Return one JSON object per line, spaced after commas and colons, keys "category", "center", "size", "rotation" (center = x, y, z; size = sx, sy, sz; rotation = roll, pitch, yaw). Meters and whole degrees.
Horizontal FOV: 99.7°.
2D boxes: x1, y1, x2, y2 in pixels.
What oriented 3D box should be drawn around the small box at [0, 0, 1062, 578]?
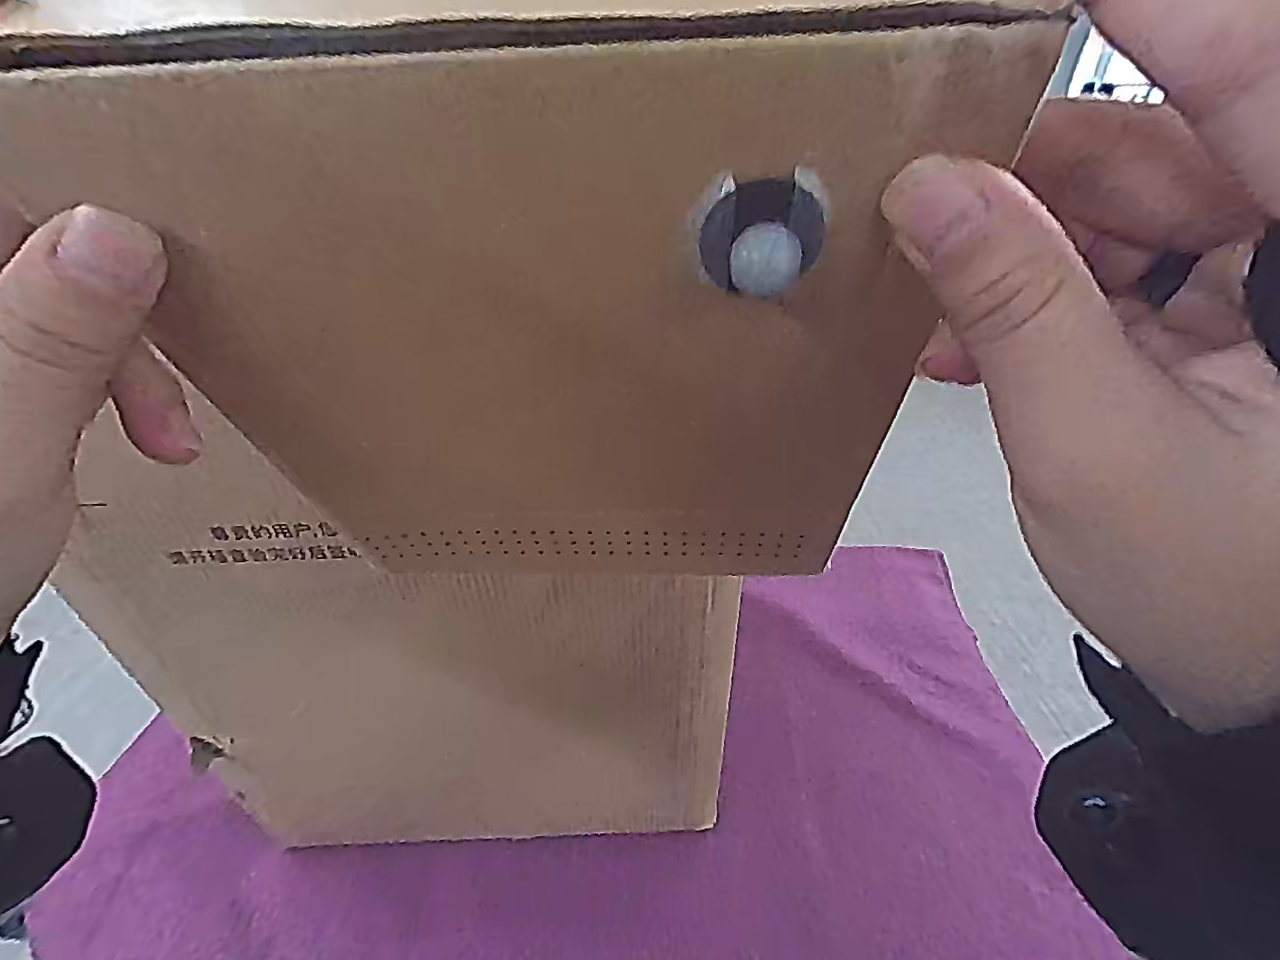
{"category": "small box", "center": [-0.019, -0.075, 0.192], "size": [0.179, 0.176, 0.168], "rotation": [0, 53, 3]}
